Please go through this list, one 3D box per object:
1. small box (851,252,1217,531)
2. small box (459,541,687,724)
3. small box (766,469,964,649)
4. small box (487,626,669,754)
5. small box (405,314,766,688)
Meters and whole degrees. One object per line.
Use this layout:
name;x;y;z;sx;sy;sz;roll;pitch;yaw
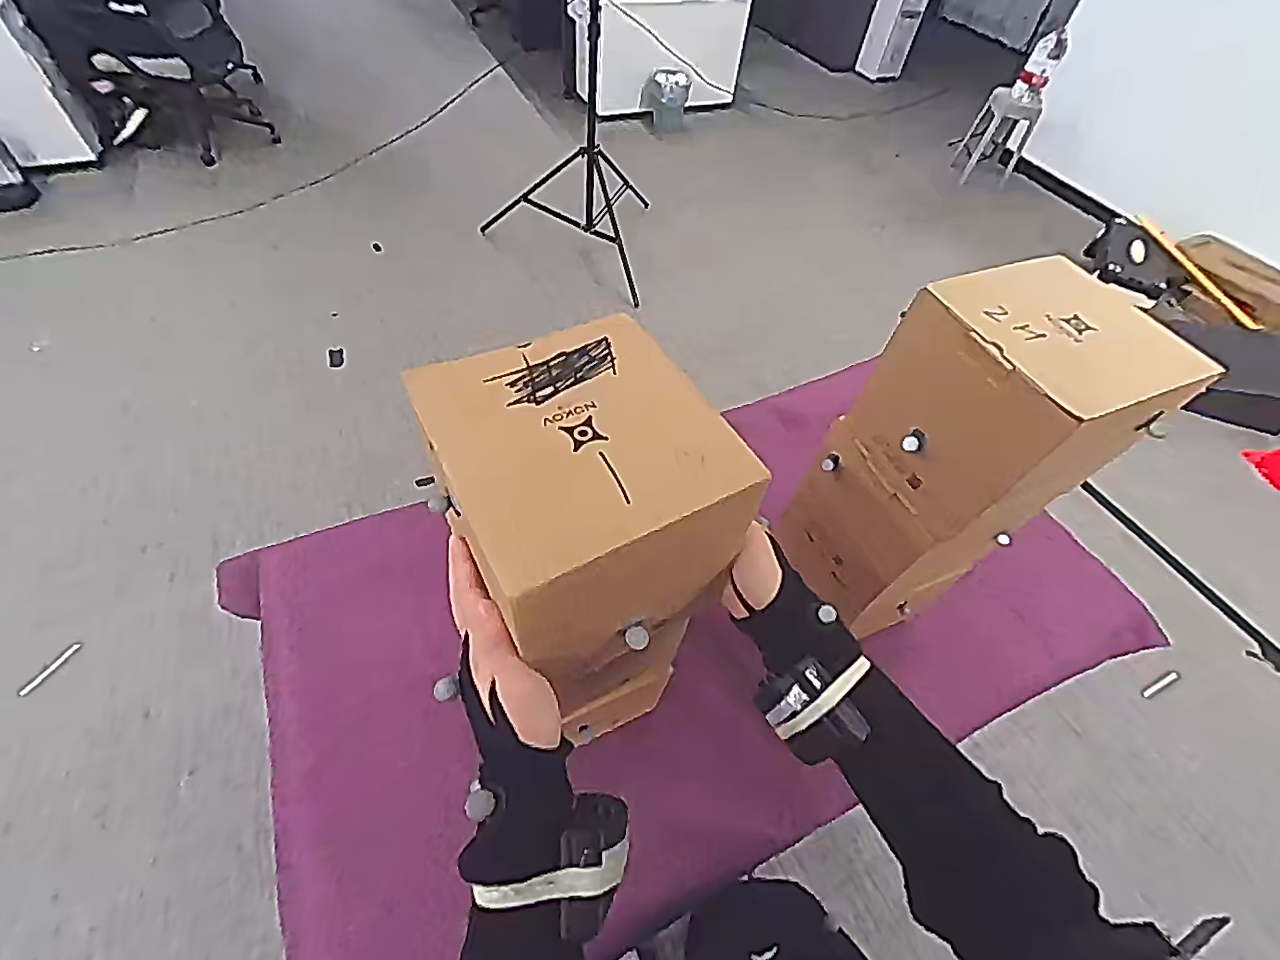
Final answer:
small box;0.335;-0.079;0.501;0.179;0.176;0.168;-17;57;-17
small box;-0.069;0.106;0.530;0.168;0.176;0.179;-21;58;-19
small box;0.297;0.115;0.764;0.179;0.176;0.168;-16;58;-18
small box;-0.081;0.209;0.656;0.168;0.176;0.179;-19;57;-19
small box;-0.044;0.015;0.389;0.168;0.176;0.179;-23;58;-21
